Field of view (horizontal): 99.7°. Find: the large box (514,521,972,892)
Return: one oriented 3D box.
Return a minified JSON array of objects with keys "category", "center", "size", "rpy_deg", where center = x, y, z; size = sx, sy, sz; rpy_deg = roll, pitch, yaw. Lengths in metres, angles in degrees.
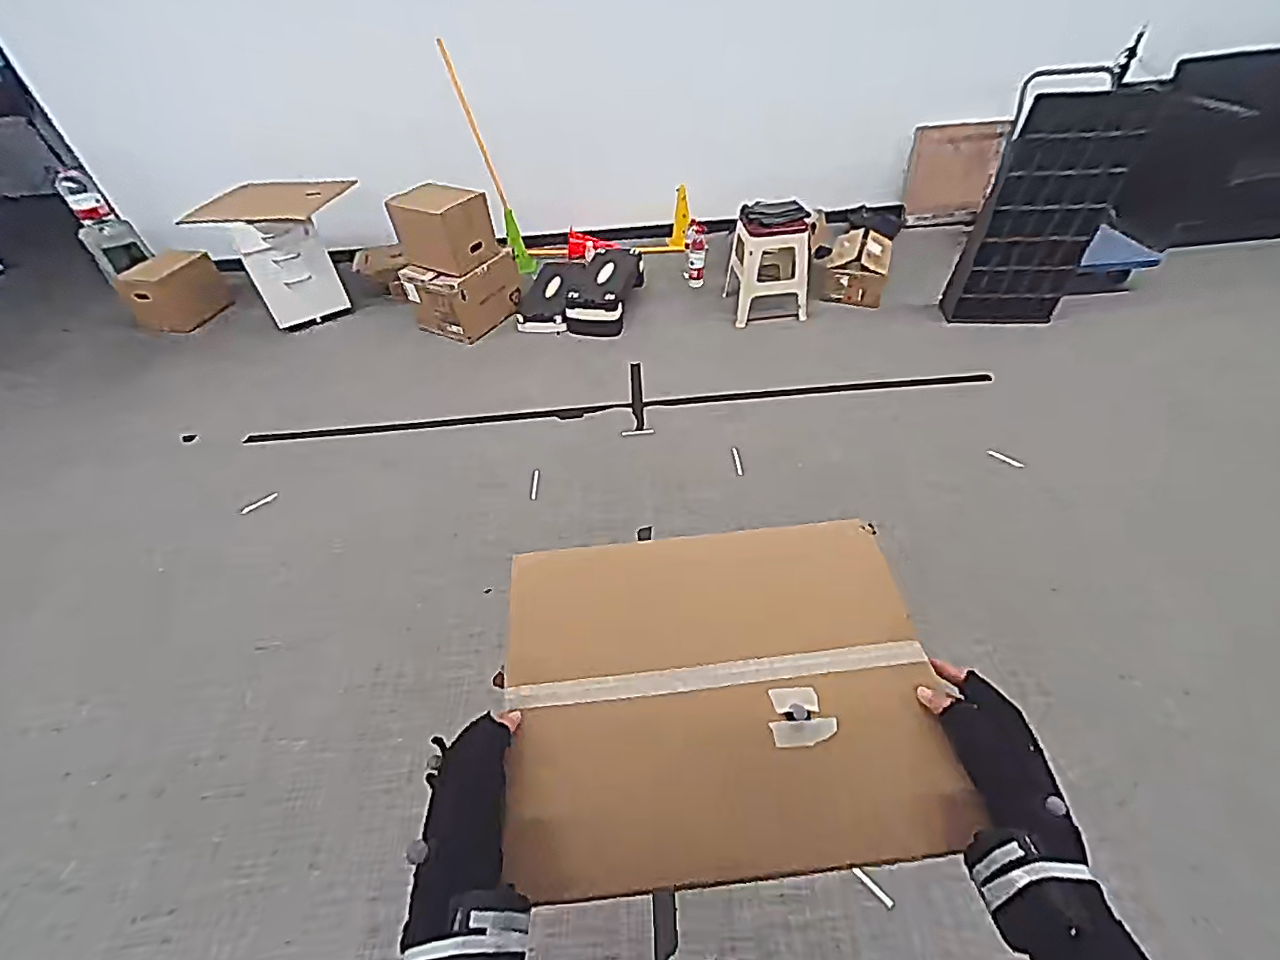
[{"category":"large box","center":[0.077,0.282,0.660],"size":[0.408,0.320,0.320],"rpy_deg":[-6,54,-2]}]
